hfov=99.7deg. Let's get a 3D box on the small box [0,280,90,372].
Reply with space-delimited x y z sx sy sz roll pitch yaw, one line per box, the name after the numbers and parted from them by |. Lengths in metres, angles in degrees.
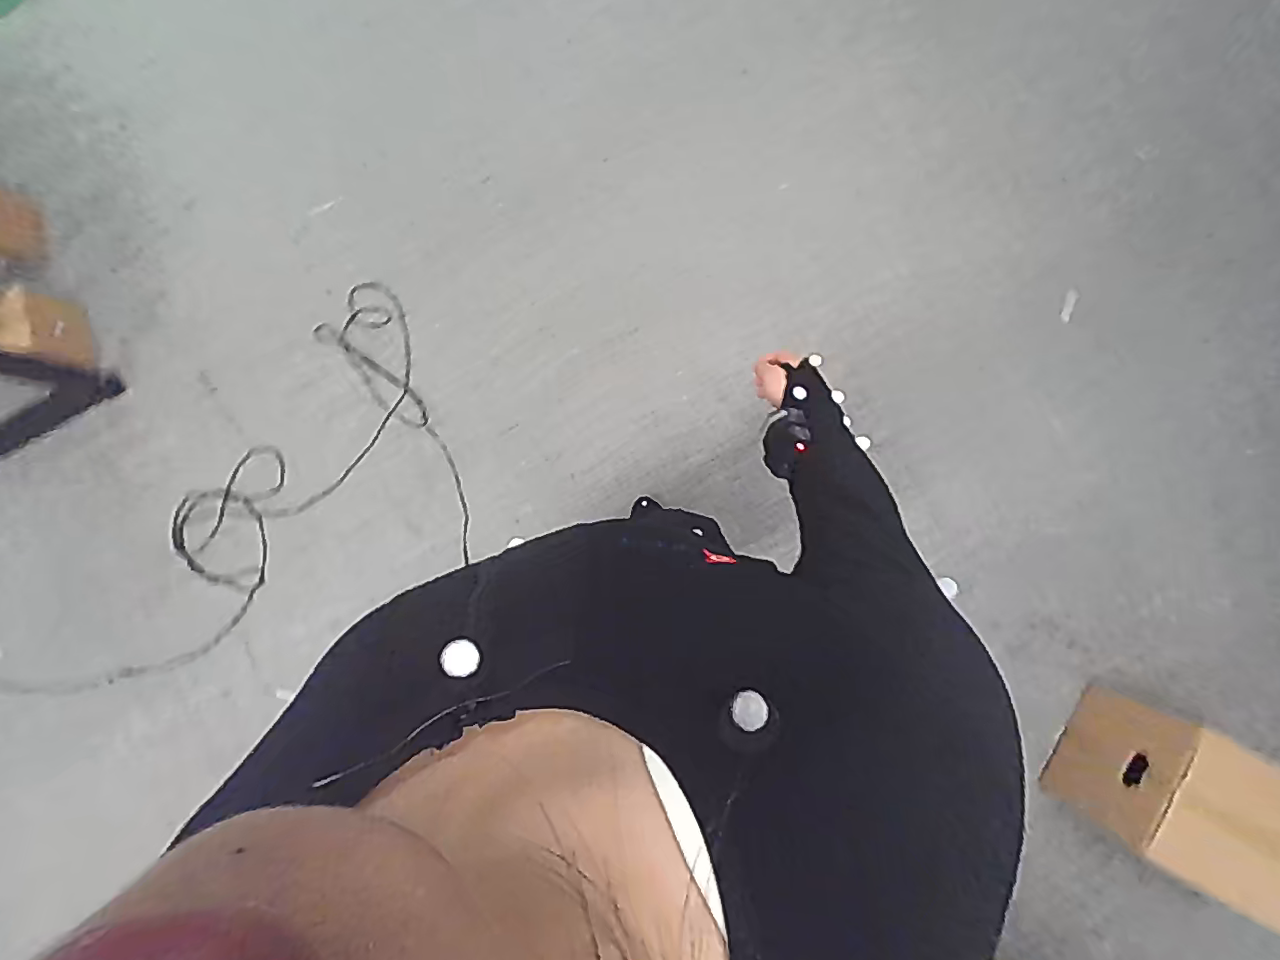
-1.637 -0.400 1.441 0.168 0.176 0.179 -17 88 -2 | small box
